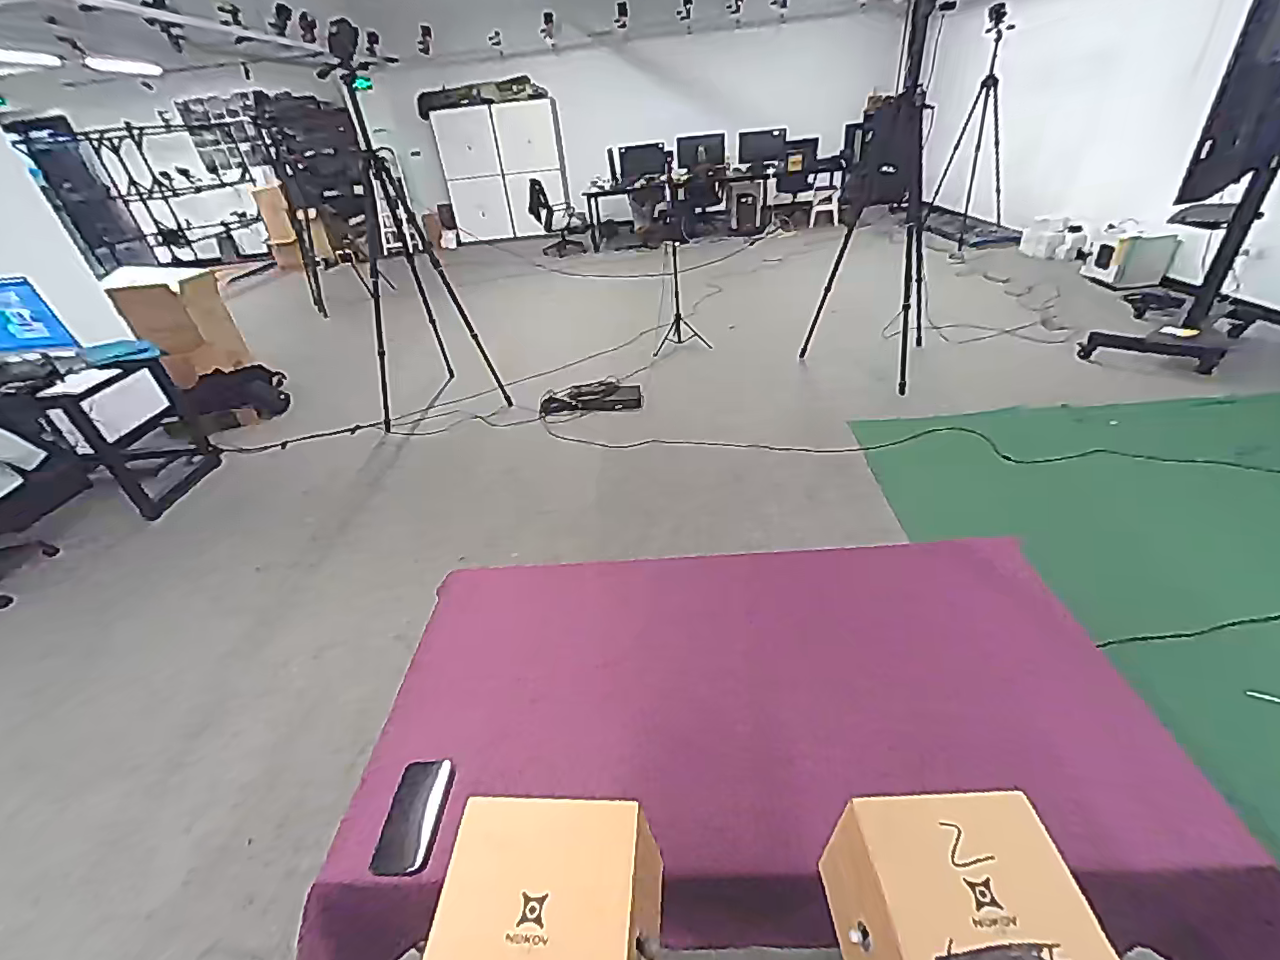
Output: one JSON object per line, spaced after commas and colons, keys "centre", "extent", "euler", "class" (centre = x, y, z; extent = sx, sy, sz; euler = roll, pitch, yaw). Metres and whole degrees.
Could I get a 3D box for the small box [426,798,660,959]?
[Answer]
{"centre": [-0.074, 0.413, 0.483], "extent": [0.168, 0.176, 0.179], "euler": [-3, 42, 9], "class": "small box"}
